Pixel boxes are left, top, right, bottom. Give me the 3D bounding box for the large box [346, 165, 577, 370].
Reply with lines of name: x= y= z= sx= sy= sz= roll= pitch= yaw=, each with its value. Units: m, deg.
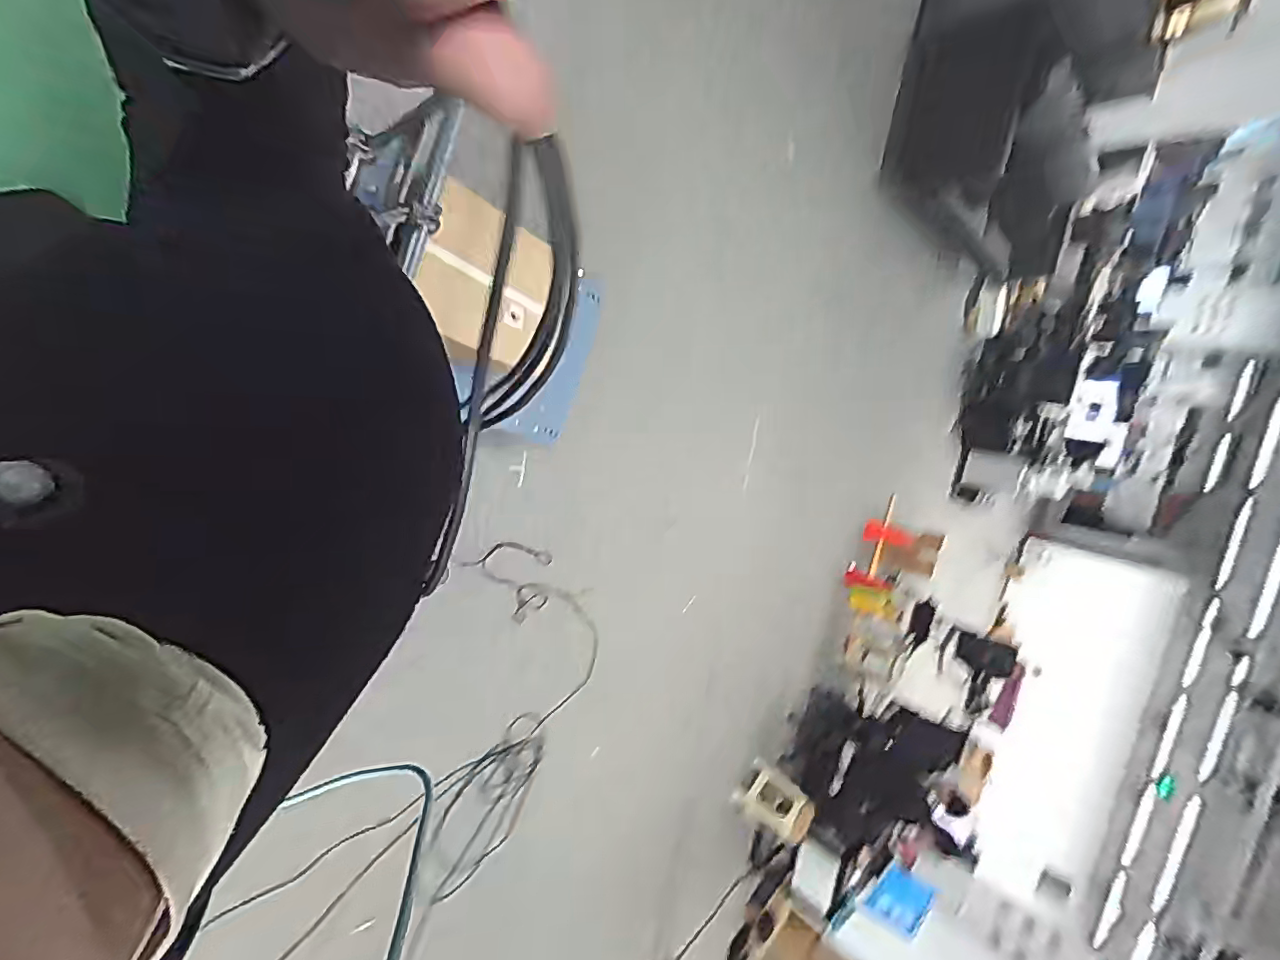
large box: x=-0.439 y=-0.496 z=1.347 sx=0.408 sy=0.320 sz=0.320 roll=19 pitch=90 yaw=-49
